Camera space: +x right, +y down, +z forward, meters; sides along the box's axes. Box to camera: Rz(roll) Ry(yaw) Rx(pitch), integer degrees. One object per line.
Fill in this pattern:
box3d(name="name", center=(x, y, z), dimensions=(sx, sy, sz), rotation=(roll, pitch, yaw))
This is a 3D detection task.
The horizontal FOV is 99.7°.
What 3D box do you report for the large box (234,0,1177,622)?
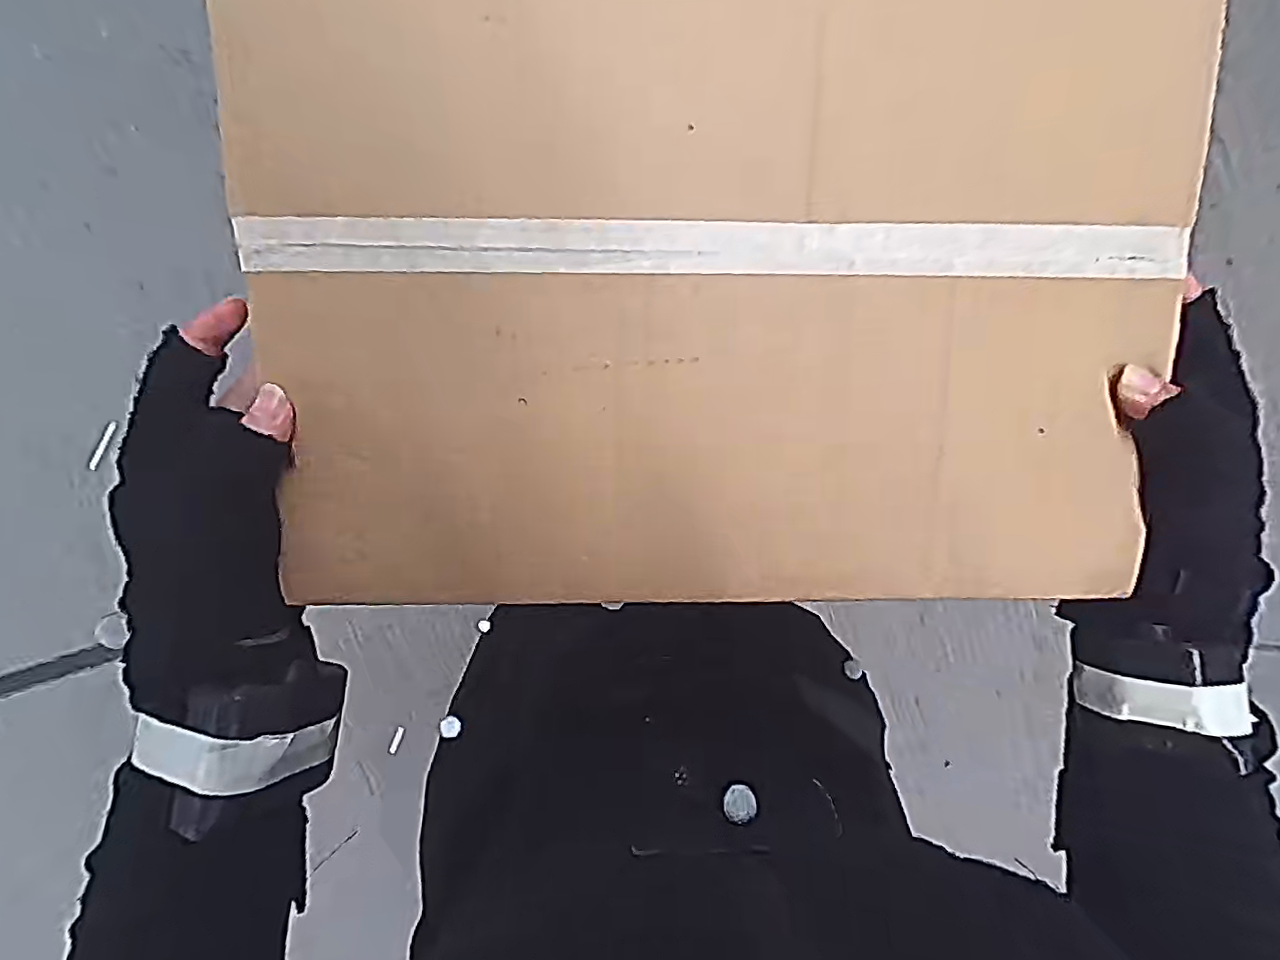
box3d(name="large box", center=(0.028, -0.110, 0.391), dimensions=(0.408, 0.320, 0.320), rotation=(-1, 100, -2))
